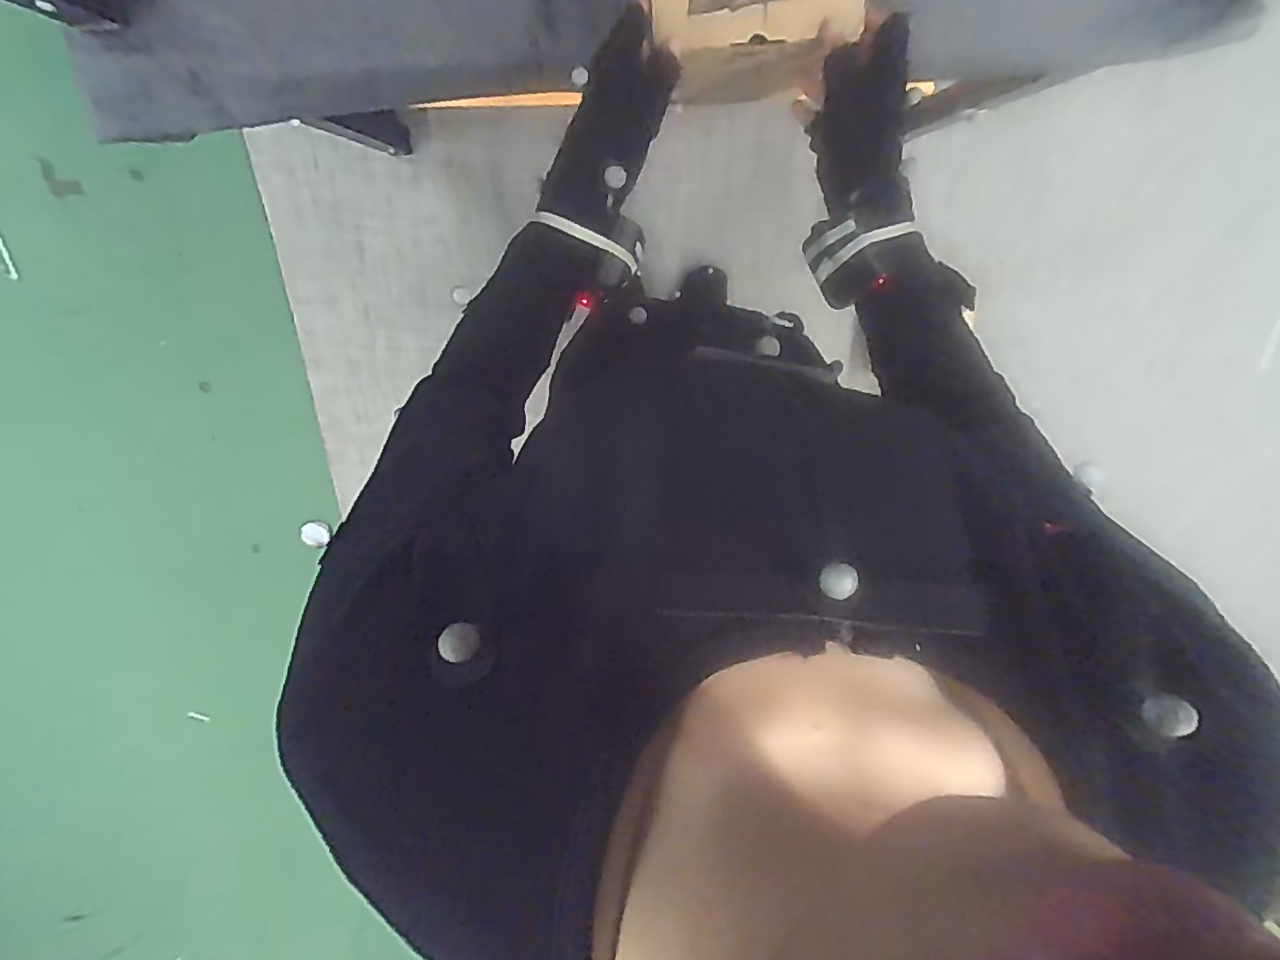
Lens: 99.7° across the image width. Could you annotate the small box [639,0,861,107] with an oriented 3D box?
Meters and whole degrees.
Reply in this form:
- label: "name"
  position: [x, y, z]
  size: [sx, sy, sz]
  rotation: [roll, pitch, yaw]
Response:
- label: "small box"
  position: [0.084, -0.440, 0.463]
  size: [0.168, 0.176, 0.179]
  rotation: [-3, 111, 0]
